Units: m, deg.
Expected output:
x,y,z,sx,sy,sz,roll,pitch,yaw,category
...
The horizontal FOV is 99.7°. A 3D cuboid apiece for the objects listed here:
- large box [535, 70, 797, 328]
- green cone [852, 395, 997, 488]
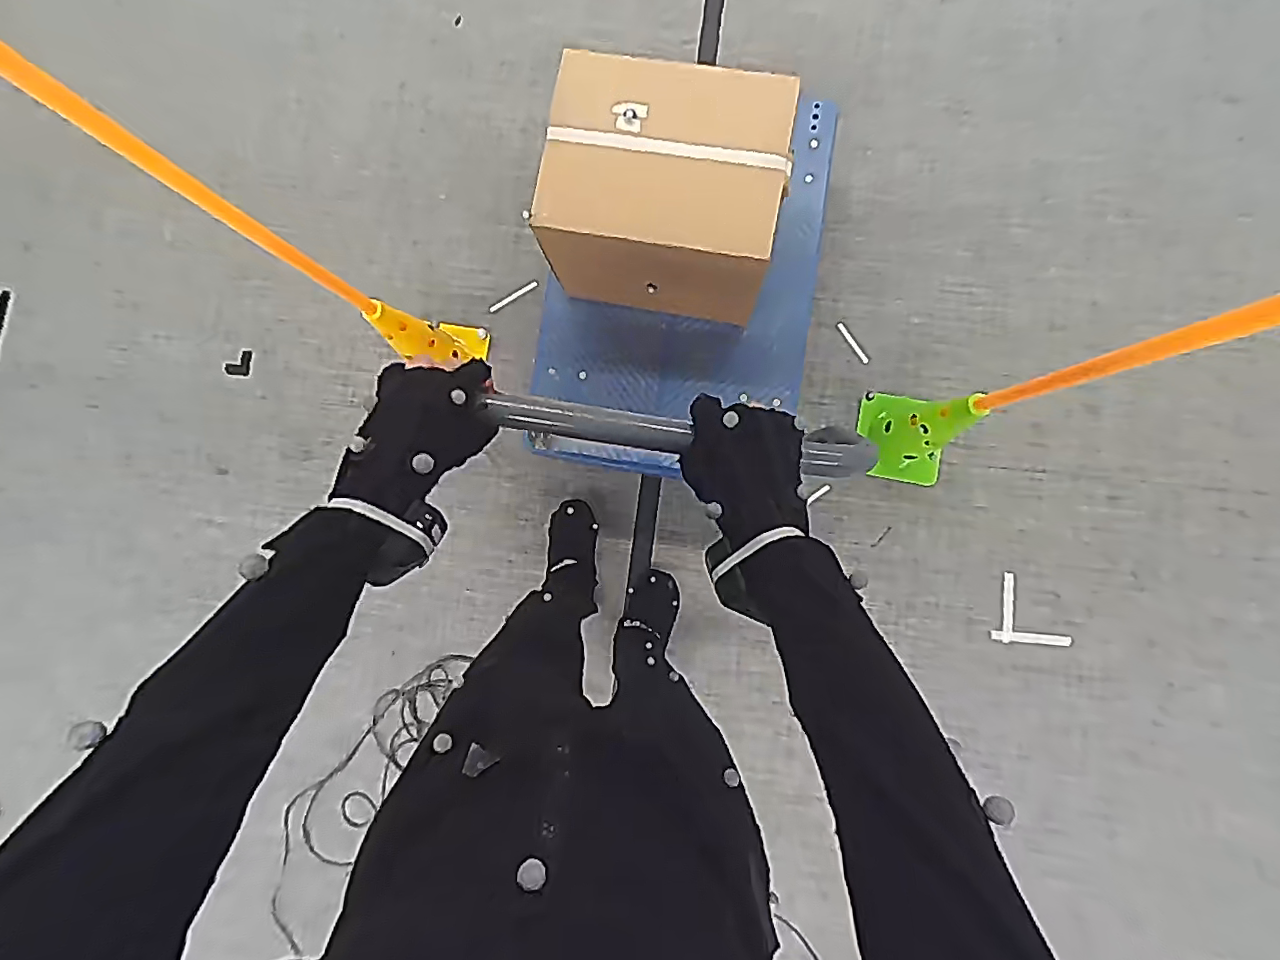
x,y,z,sx,sy,sz,roll,pitch,yaw,category
0.055,-0.516,1.054,0.408,0.320,0.320,11,87,6,large box
0.609,-0.107,1.122,0.202,0.368,0.200,11,86,4,green cone
